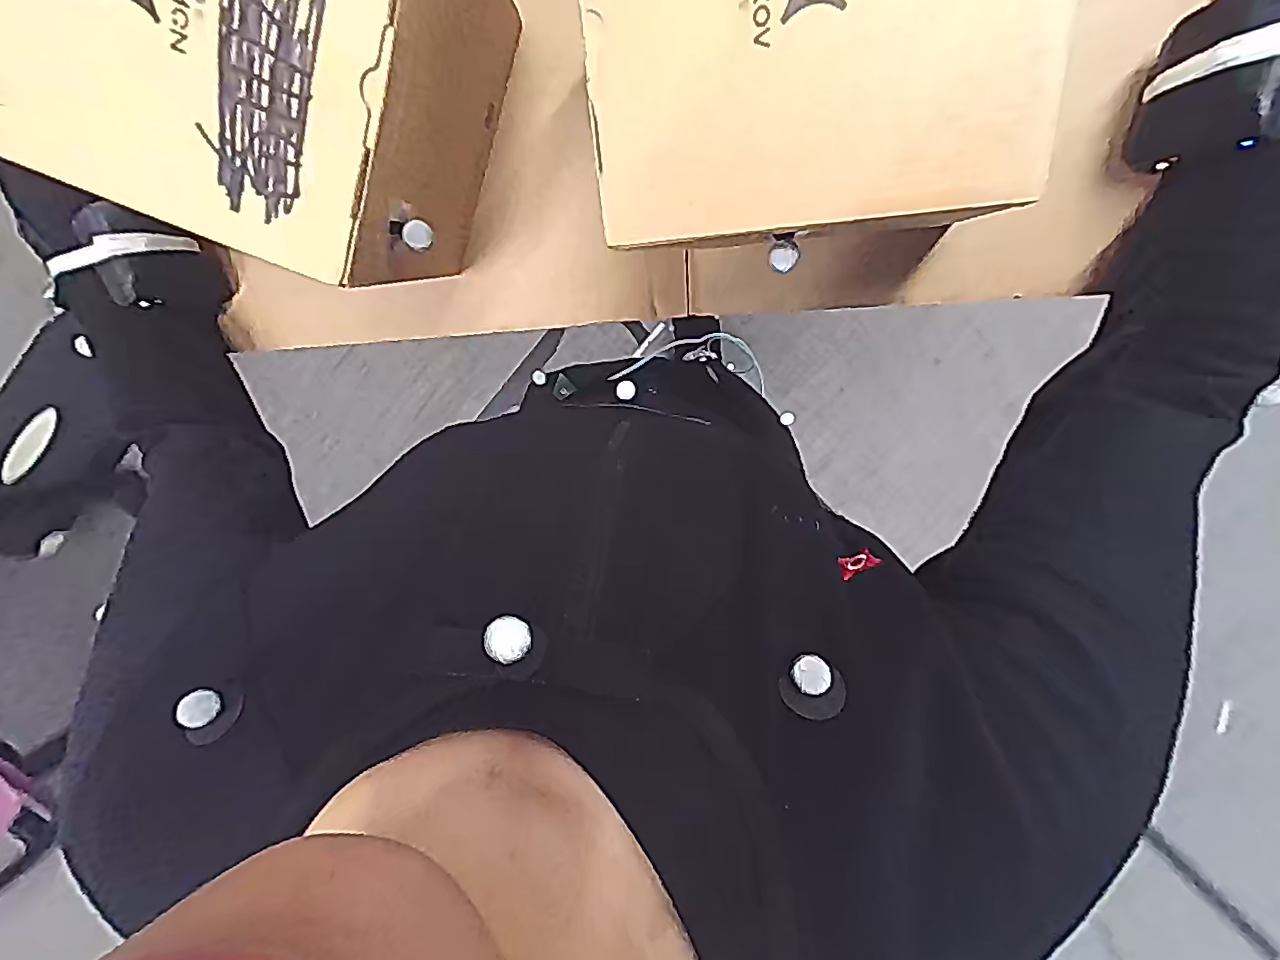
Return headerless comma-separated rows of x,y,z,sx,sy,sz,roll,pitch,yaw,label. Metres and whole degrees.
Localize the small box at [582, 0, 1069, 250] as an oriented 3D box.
0.085,-0.210,0.266,0.179,0.176,0.168,5,114,20,small box
